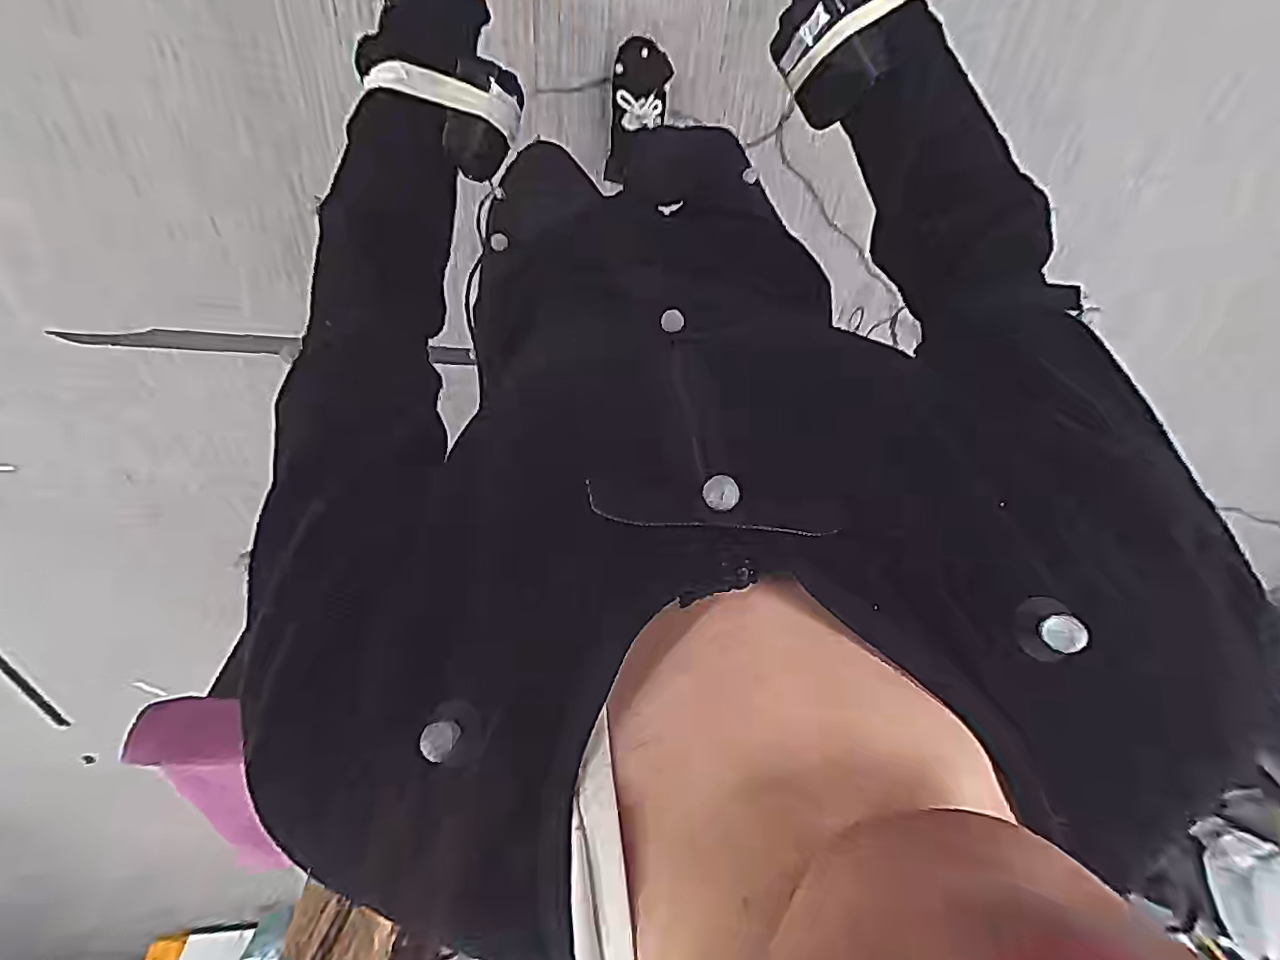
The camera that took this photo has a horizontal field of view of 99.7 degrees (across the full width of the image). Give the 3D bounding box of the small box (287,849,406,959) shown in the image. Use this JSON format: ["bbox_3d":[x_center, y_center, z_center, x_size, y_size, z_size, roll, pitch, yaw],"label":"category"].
[{"bbox_3d":[-0.609,0.905,1.146,0.168,0.176,0.179,2,127,-9],"label":"small box"}]
